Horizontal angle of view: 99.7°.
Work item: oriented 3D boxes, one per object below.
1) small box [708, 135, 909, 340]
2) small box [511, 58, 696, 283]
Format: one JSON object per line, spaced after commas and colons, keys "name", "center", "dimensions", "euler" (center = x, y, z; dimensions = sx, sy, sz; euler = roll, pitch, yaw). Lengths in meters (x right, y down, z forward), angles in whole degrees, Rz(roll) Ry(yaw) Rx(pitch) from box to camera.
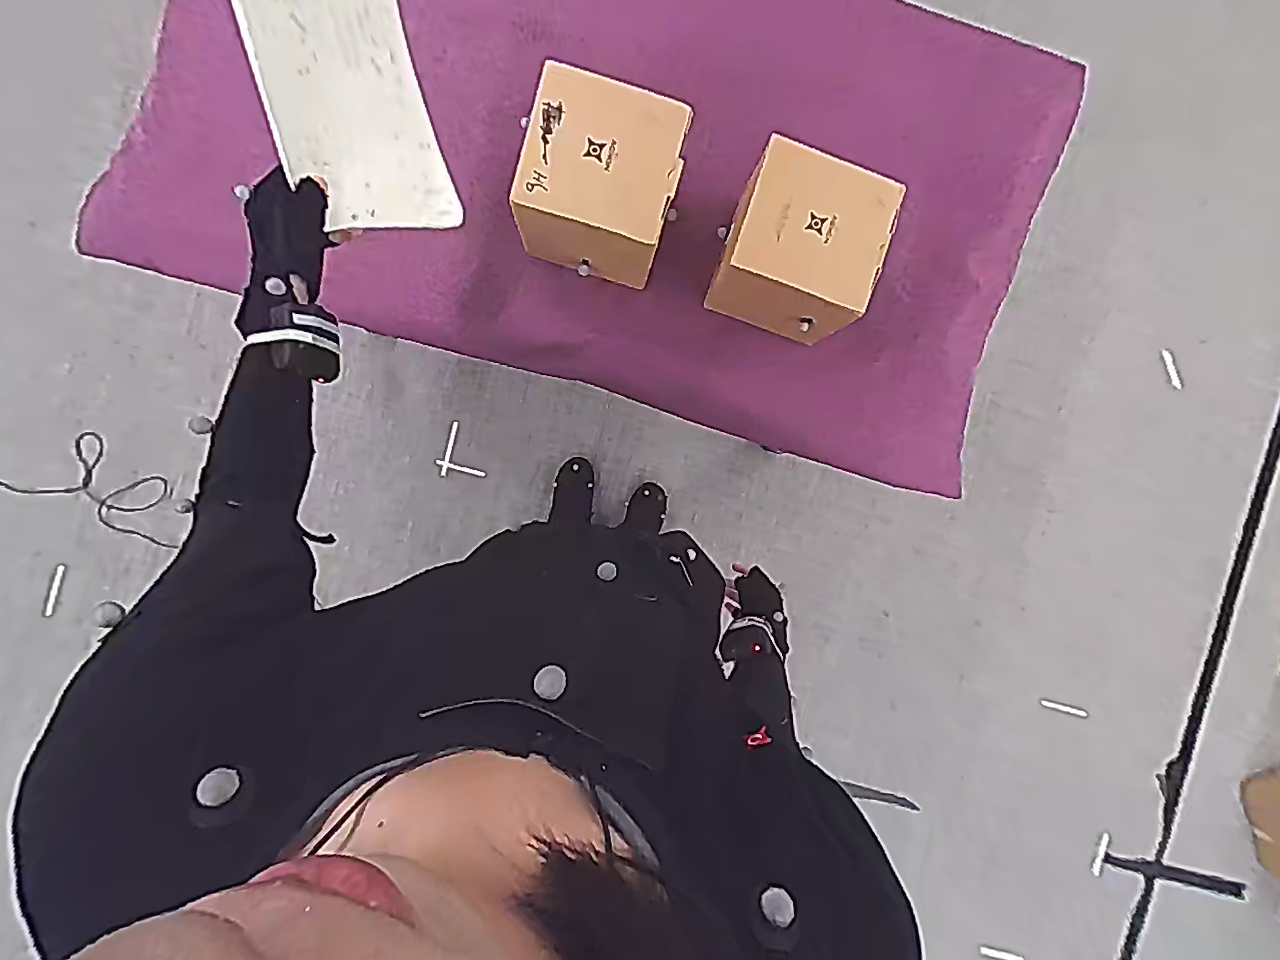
{"name": "small box", "center": [0.207, -0.299, 0.711], "dimensions": [0.179, 0.176, 0.168], "euler": [18, 88, -3]}
{"name": "small box", "center": [-0.047, -0.371, 0.687], "dimensions": [0.179, 0.176, 0.168], "euler": [15, 90, -6]}
